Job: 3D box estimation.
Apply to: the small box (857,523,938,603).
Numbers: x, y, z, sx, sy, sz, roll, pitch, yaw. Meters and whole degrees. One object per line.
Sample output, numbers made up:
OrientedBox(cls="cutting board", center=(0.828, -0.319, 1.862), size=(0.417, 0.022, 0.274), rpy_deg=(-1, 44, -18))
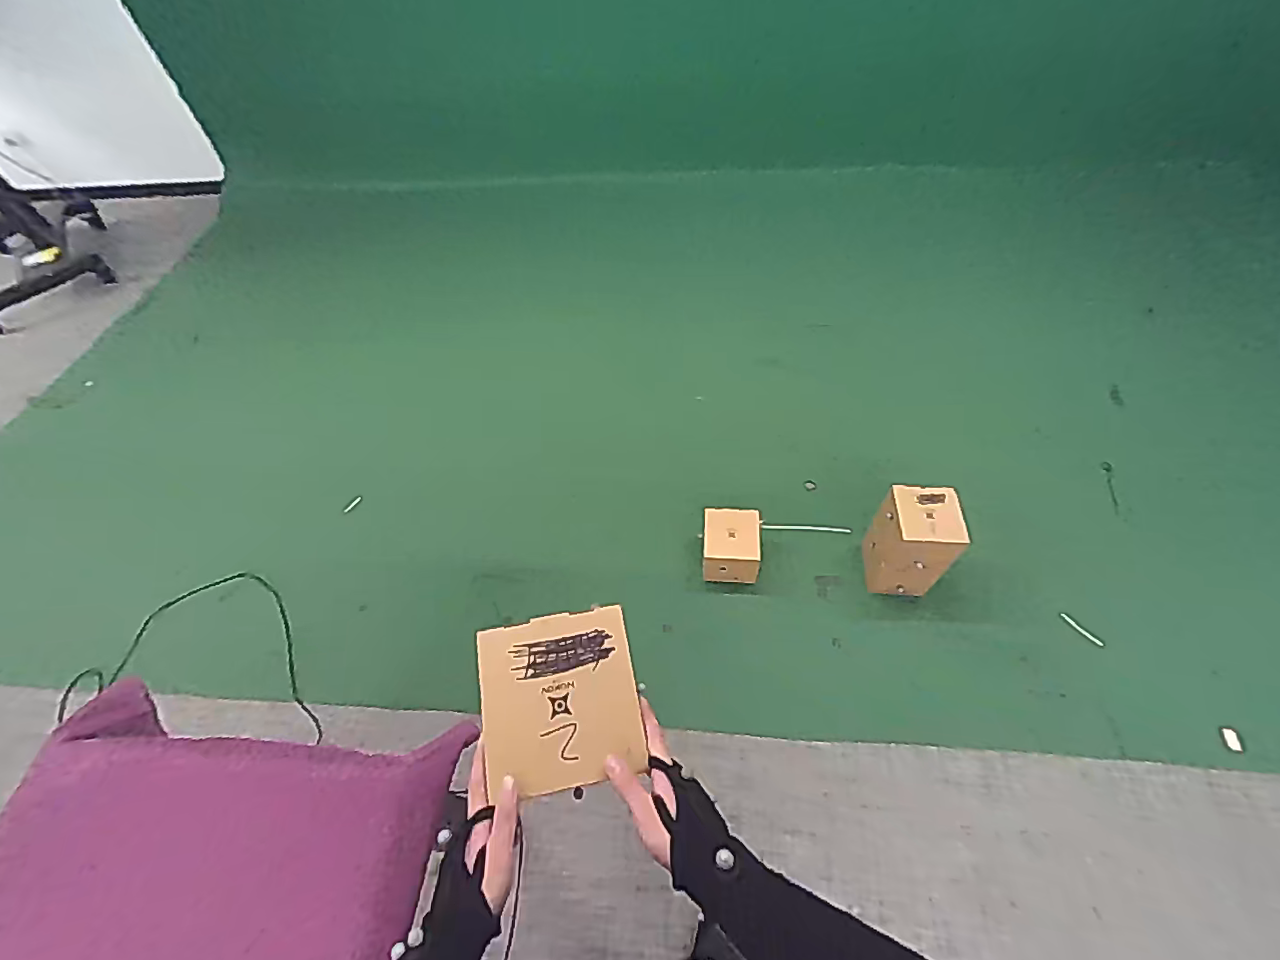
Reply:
OrientedBox(cls="small box", center=(0.771, 0.253, 1.640), size=(0.168, 0.176, 0.179), rpy_deg=(3, 54, 6))

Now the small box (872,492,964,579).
OrientedBox(cls="small box", center=(0.764, 0.155, 1.508), size=(0.168, 0.176, 0.179), rpy_deg=(3, 54, 6))

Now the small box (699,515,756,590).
OrientedBox(cls="small box", center=(0.272, 0.230, 1.695), size=(0.168, 0.176, 0.179), rpy_deg=(2, 53, 6))
